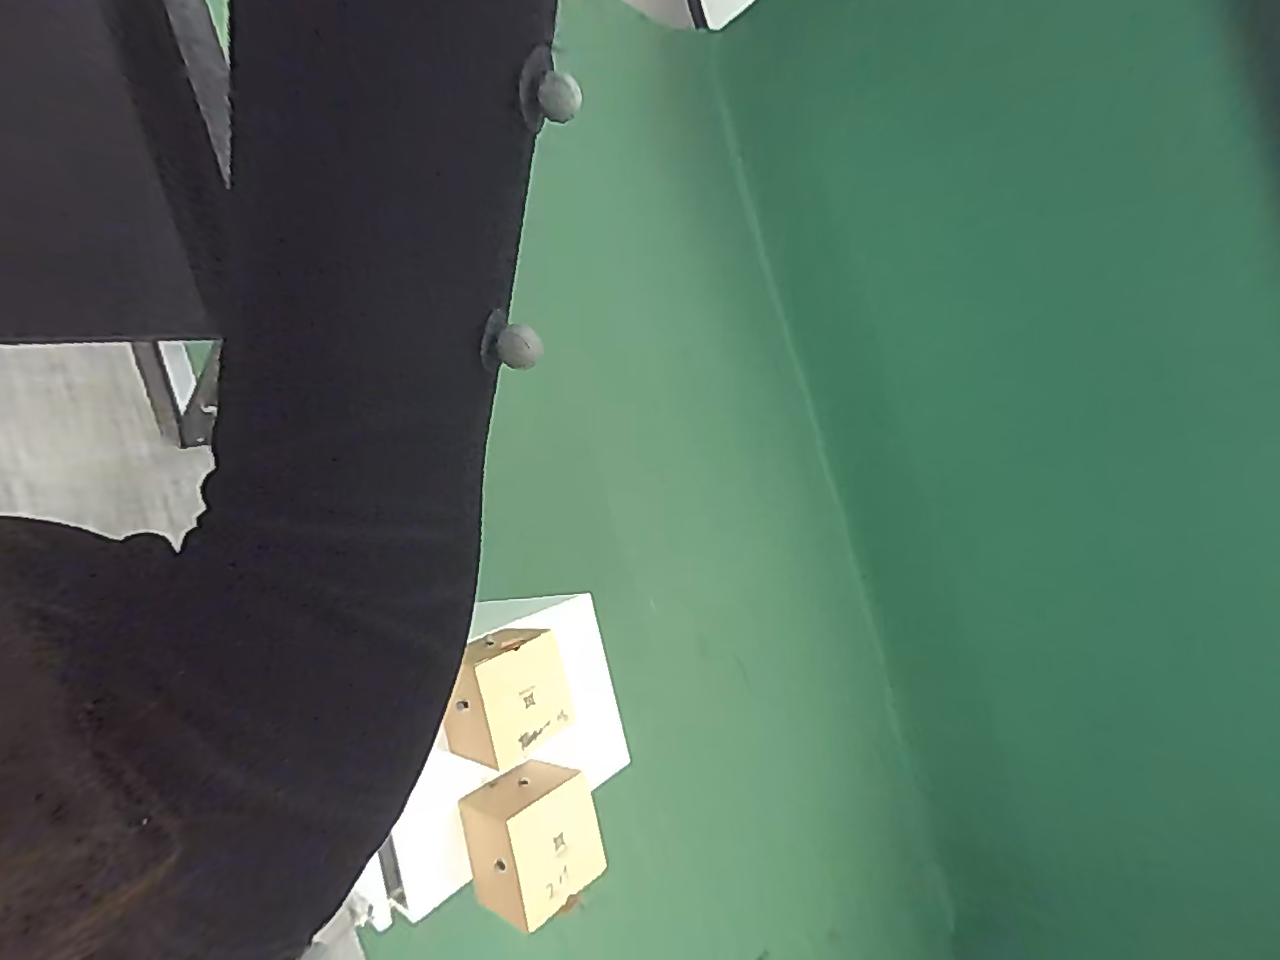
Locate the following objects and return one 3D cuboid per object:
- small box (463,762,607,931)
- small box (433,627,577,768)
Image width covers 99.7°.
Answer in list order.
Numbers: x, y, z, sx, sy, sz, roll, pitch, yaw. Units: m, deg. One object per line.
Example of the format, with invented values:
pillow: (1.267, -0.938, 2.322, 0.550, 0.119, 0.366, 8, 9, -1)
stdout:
small box: (-0.188, 0.617, 0.944, 0.168, 0.176, 0.179, -9, 86, -46)
small box: (-0.243, 0.373, 0.959, 0.168, 0.176, 0.179, -14, 89, -46)
